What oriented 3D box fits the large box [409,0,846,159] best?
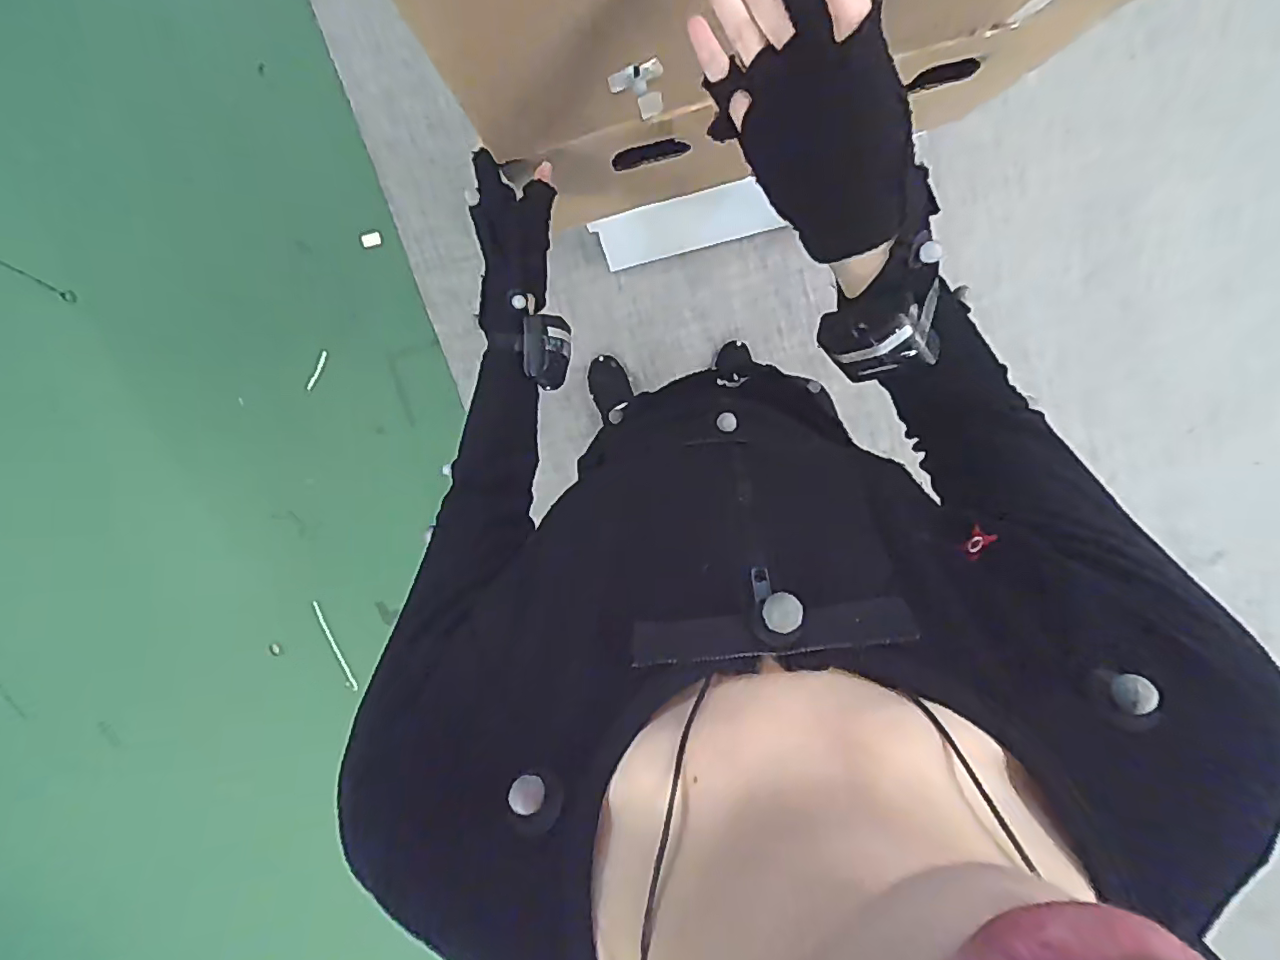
[{"bbox_3d":[-0.040,-0.493,0.314,0.320,0.320,0.408,-16,101,2],"label":"large box"}]
